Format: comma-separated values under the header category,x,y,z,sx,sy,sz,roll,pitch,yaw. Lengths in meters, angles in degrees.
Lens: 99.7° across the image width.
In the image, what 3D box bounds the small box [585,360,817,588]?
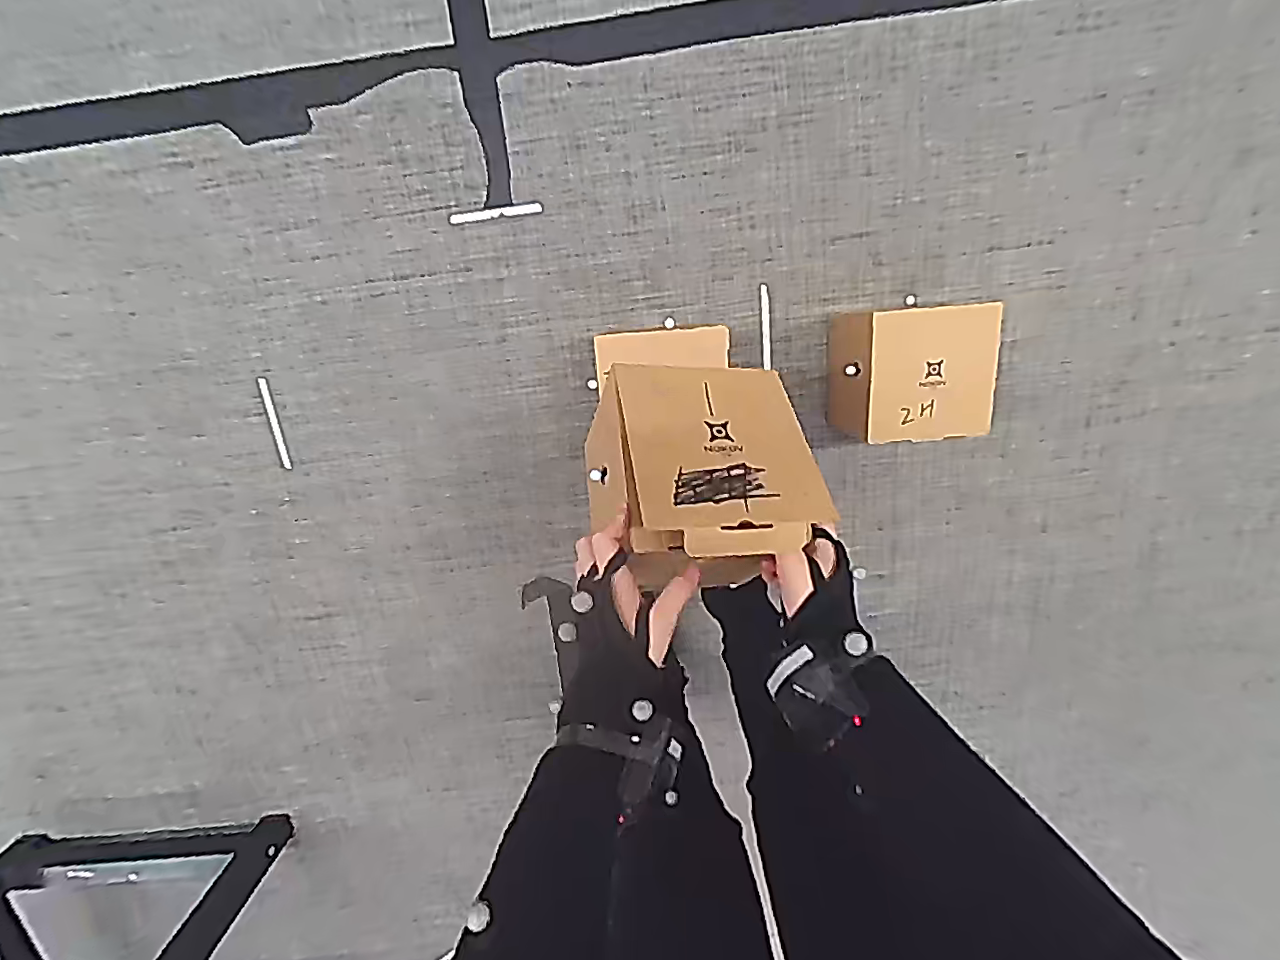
category,x,y,z,sx,sy,sz,roll,pitch,yaw
small box,0.043,0.006,0.530,0.168,0.176,0.179,0,67,-16

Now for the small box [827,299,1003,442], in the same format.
category,x,y,z,sx,sy,sz,roll,pitch,yaw
small box,0.379,-0.160,0.777,0.168,0.176,0.179,-4,107,1

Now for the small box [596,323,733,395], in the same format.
category,x,y,z,sx,sy,sz,roll,pitch,yaw
small box,0.031,-0.136,0.780,0.179,0.176,0.168,-4,107,-1
